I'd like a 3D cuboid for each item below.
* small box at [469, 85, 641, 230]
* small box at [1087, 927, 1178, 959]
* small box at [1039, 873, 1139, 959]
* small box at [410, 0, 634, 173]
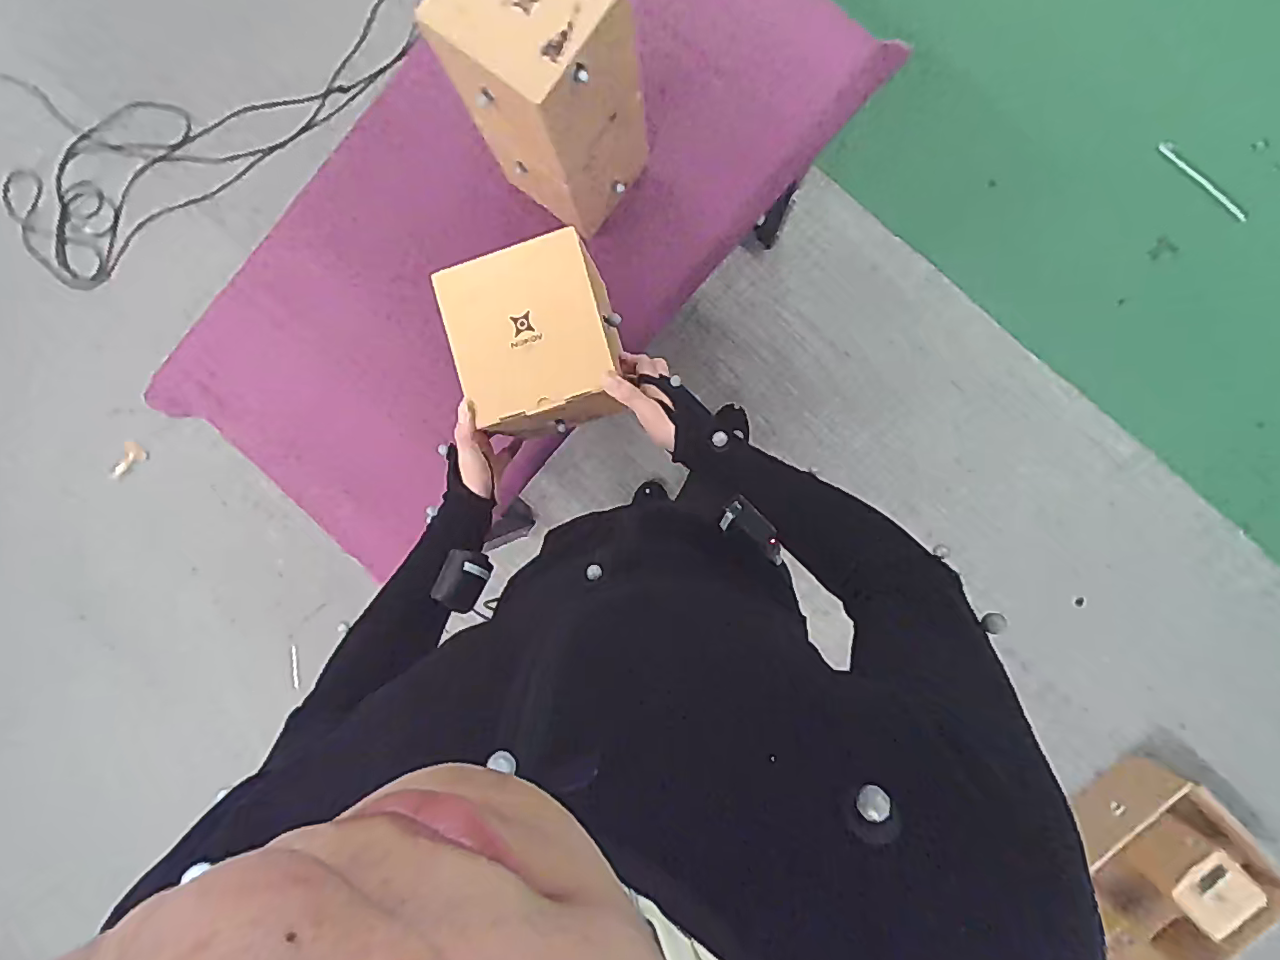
[{"bbox_3d":[-0.115,-0.516,0.813,0.179,0.176,0.168,38,93,2],"label":"small box"},{"bbox_3d":[1.215,1.204,1.263,0.168,0.176,0.179,-42,90,2],"label":"small box"},{"bbox_3d":[1.223,1.204,1.427,0.168,0.176,0.179,-44,88,2],"label":"small box"},{"bbox_3d":[-0.126,-0.515,0.649,0.179,0.176,0.168,37,93,3],"label":"small box"}]
